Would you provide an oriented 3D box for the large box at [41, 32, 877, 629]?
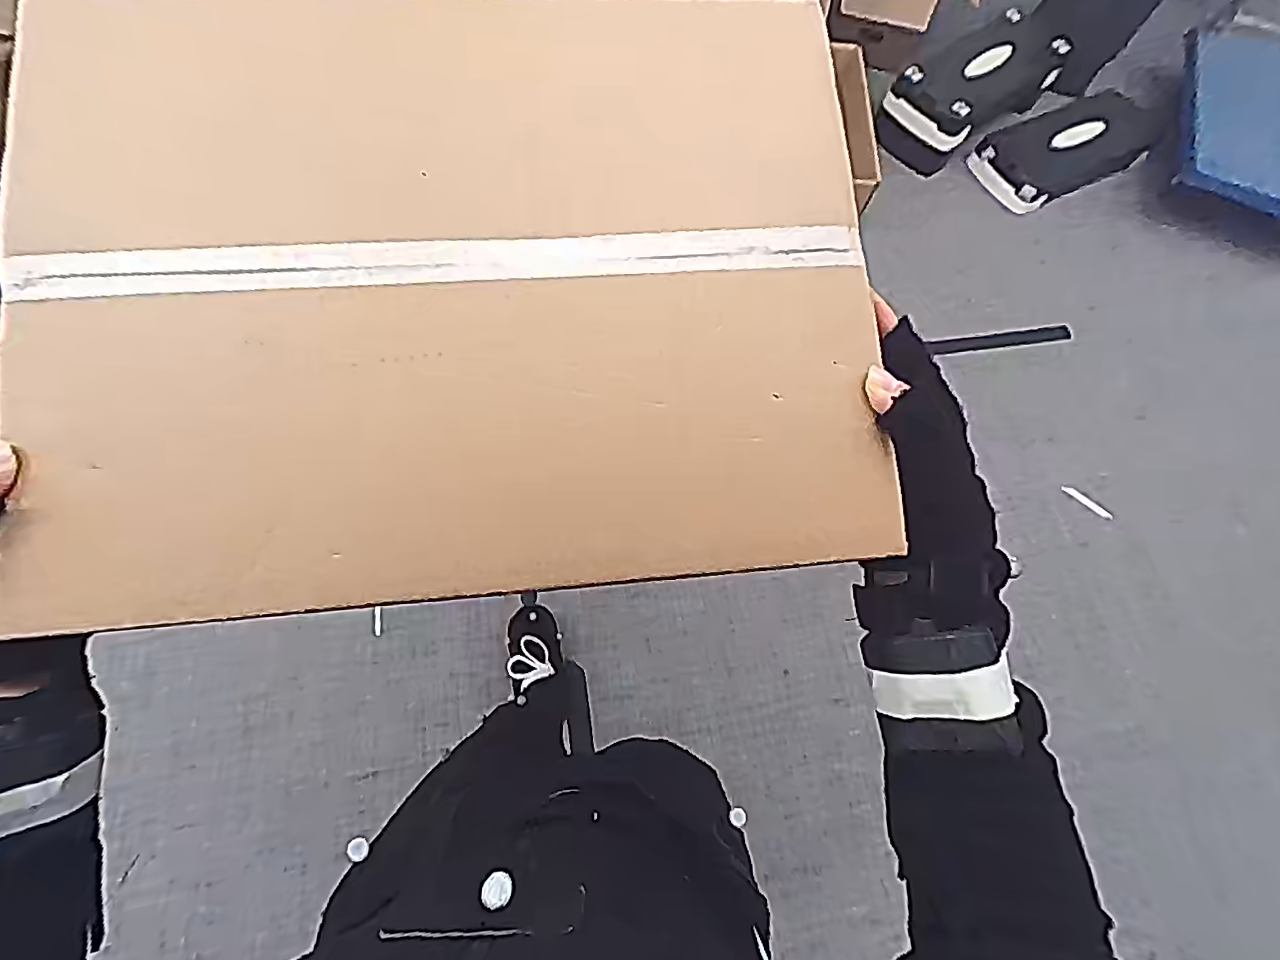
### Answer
[{"bbox_3d":[-0.100,-0.078,0.429,0.408,0.320,0.320,-5,83,-6],"label":"large box"}]
